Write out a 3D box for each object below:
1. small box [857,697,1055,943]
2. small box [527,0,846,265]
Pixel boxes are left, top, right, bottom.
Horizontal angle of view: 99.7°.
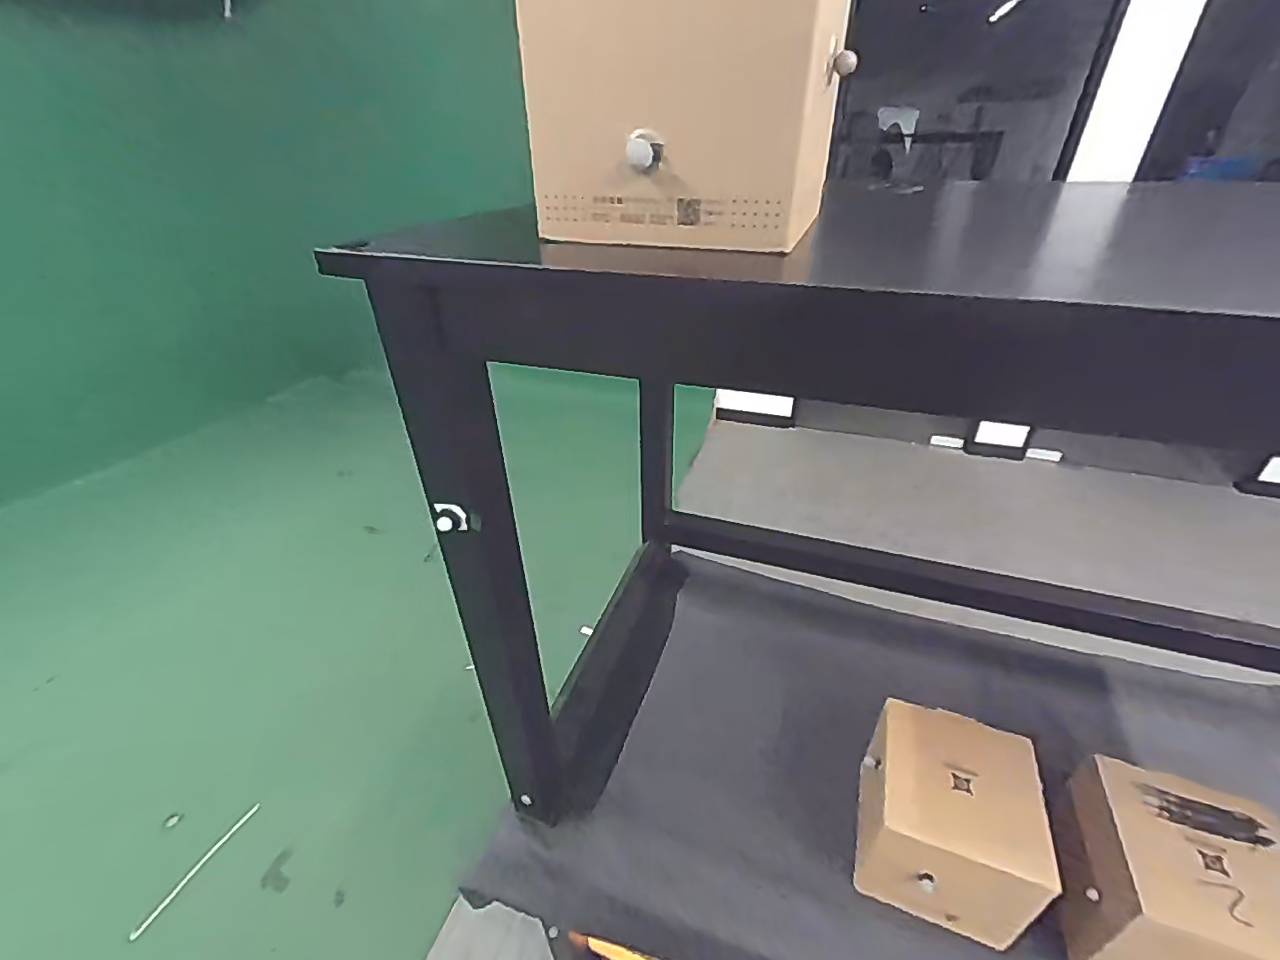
[{"bbox_3d":[0.370,0.413,0.665,0.168,0.176,0.179,11,34,19],"label":"small box"},{"bbox_3d":[0.036,-0.254,0.363,0.168,0.176,0.179,10,35,18],"label":"small box"}]
